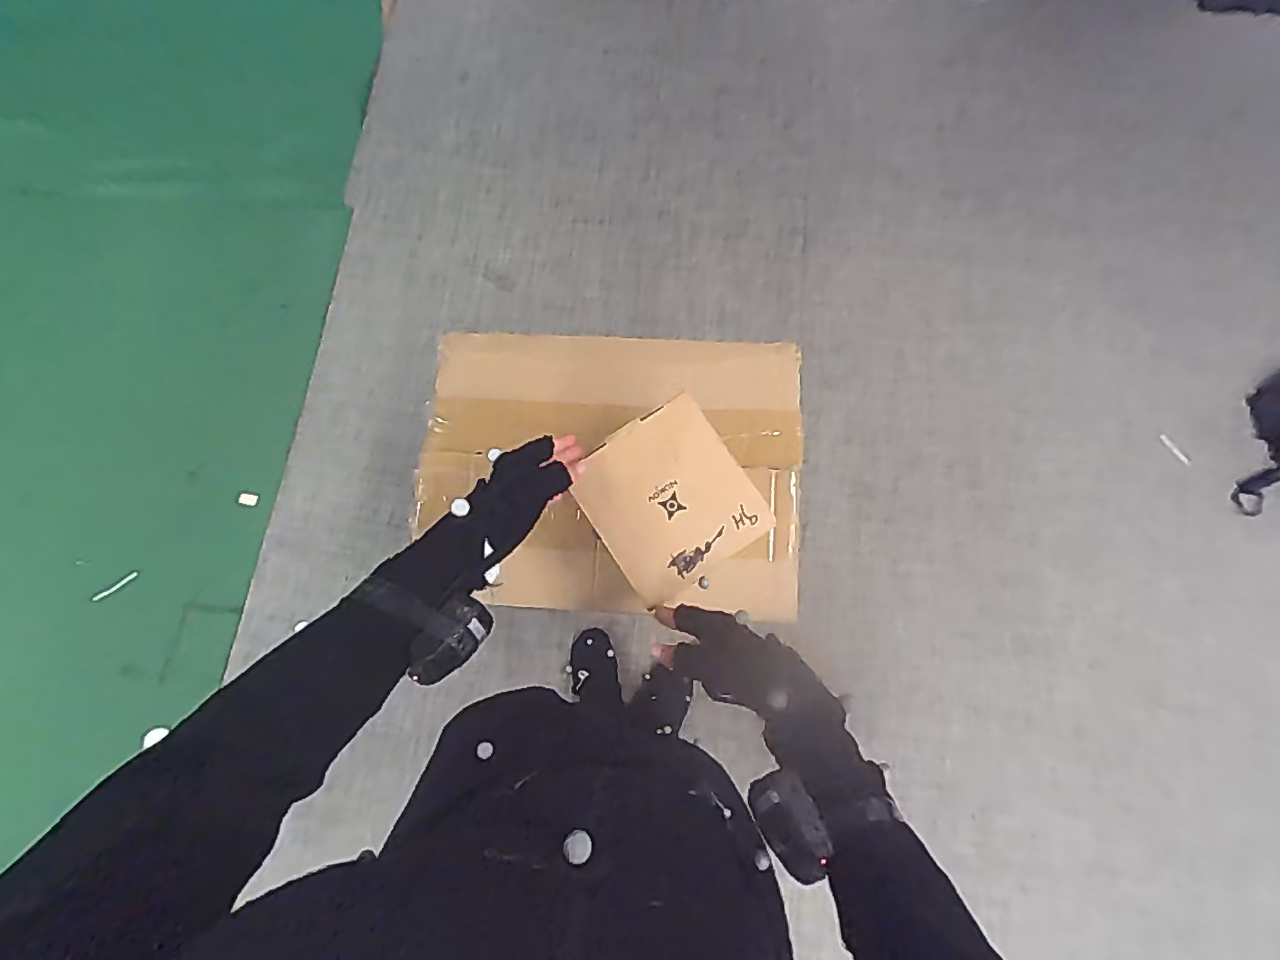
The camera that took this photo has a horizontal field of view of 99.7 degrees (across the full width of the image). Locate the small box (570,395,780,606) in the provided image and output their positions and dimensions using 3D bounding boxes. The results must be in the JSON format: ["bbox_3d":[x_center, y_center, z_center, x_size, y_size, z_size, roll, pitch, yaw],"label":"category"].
[{"bbox_3d":[0.037,0.030,0.654,0.168,0.176,0.179,-33,83,-2],"label":"small box"}]
